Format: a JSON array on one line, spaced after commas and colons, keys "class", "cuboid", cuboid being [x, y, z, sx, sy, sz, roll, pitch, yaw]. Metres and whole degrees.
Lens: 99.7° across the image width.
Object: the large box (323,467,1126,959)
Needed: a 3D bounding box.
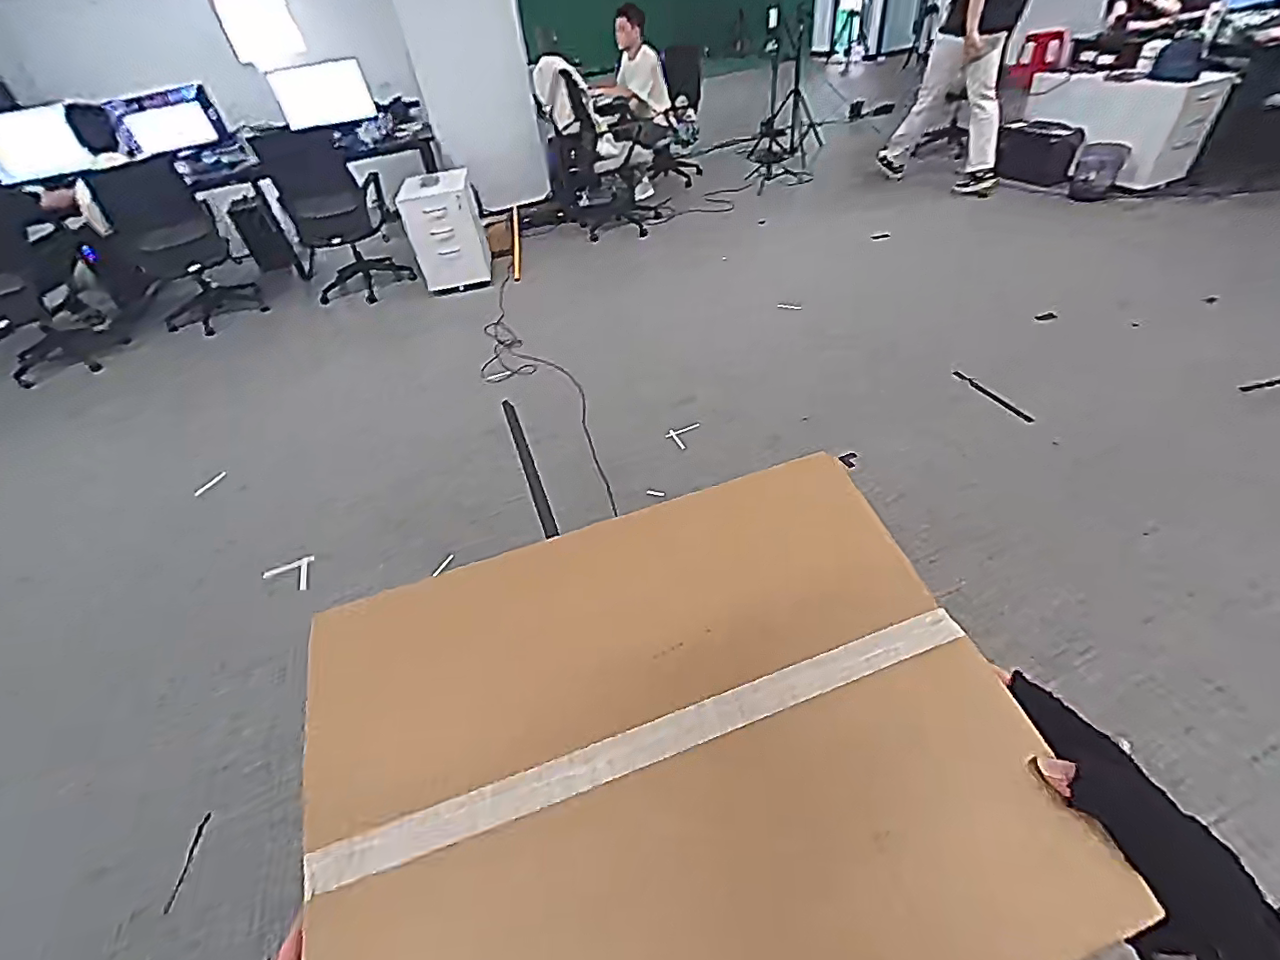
[{"class": "large box", "cuboid": [0.024, 0.249, 0.447, 0.408, 0.320, 0.320, -18, 54, -8]}]
